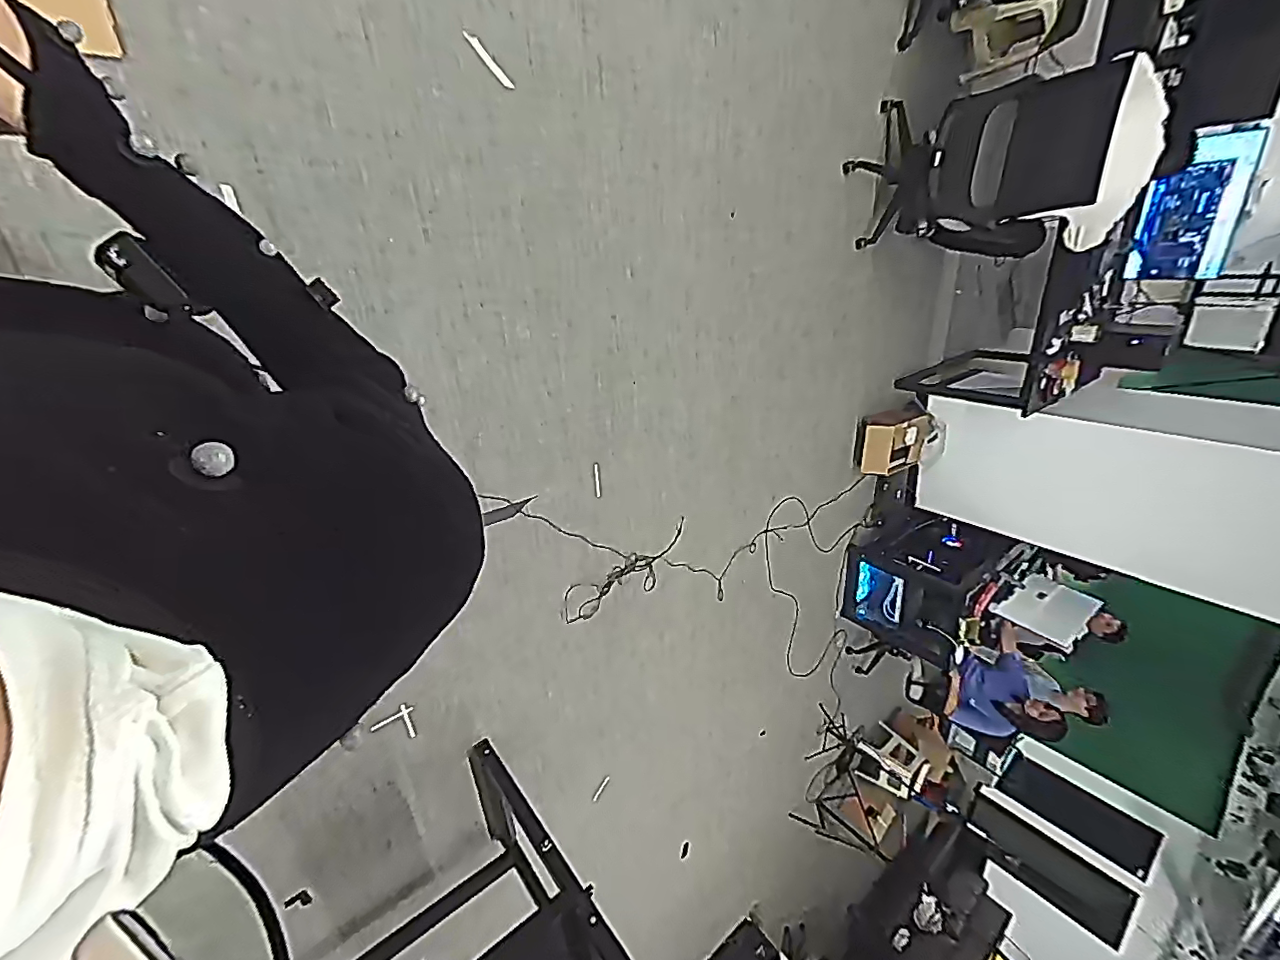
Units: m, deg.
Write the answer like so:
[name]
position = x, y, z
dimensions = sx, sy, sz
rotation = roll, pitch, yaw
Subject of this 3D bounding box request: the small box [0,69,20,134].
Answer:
[small box]
position = -0.560, -0.349, 0.336
dimensions = 0.168, 0.176, 0.179
rotation = -24, 106, -33
